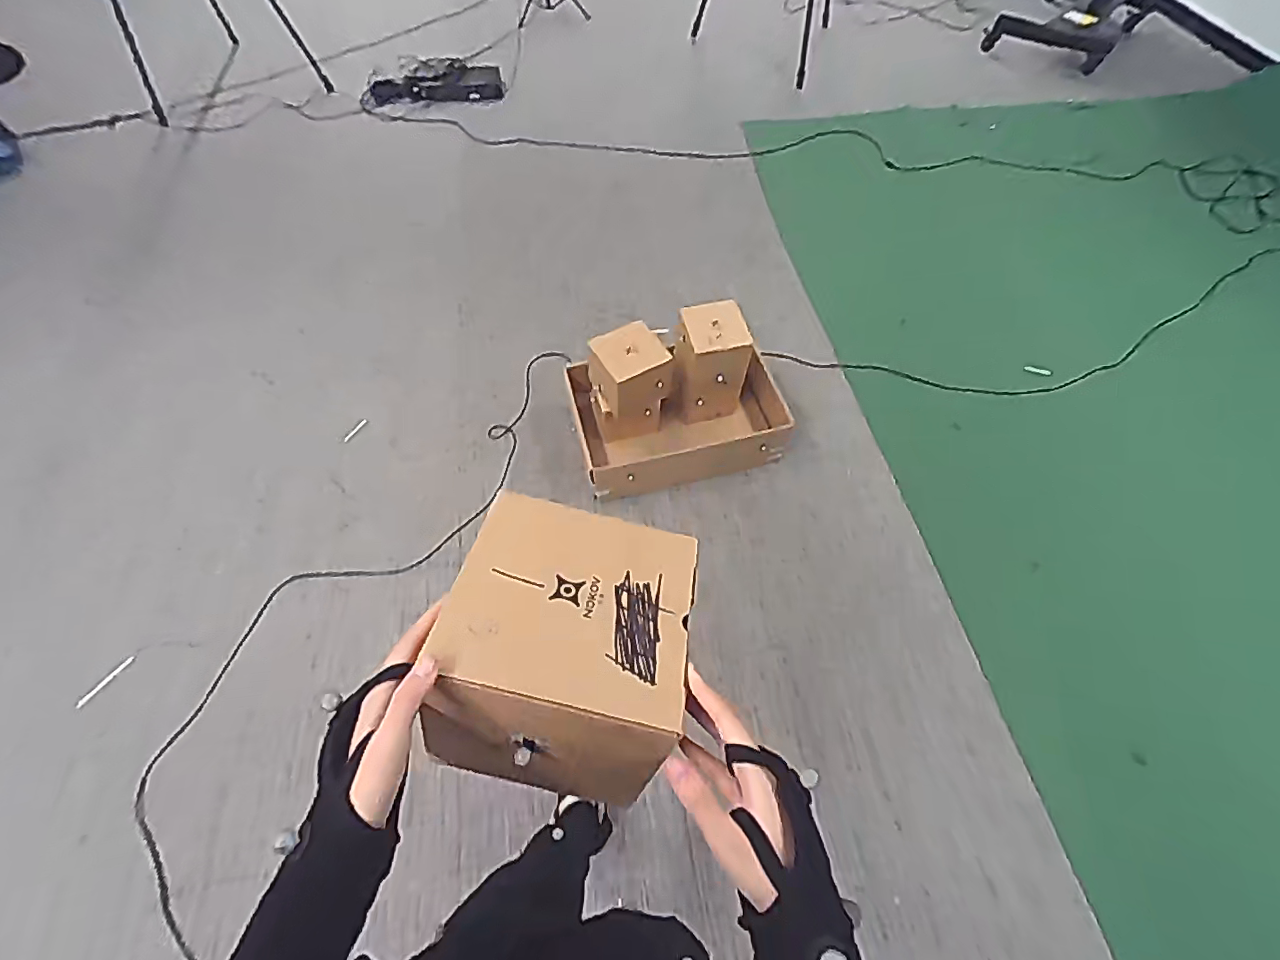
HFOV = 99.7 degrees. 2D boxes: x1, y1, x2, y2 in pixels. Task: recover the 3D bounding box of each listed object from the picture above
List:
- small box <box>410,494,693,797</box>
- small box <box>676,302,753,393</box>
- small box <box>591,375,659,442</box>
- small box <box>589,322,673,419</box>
[{"bbox_3d":[-0.067,0.143,0.457,0.179,0.176,0.168,15,42,-2],"label":"small box"},{"bbox_3d":[0.206,-0.379,1.554,0.168,0.176,0.179,-11,62,-6],"label":"small box"},{"bbox_3d":[-0.046,-0.235,1.659,0.179,0.176,0.168,-12,62,-9],"label":"small box"},{"bbox_3d":[-0.030,-0.302,1.511,0.179,0.176,0.168,-27,65,-16],"label":"small box"}]
